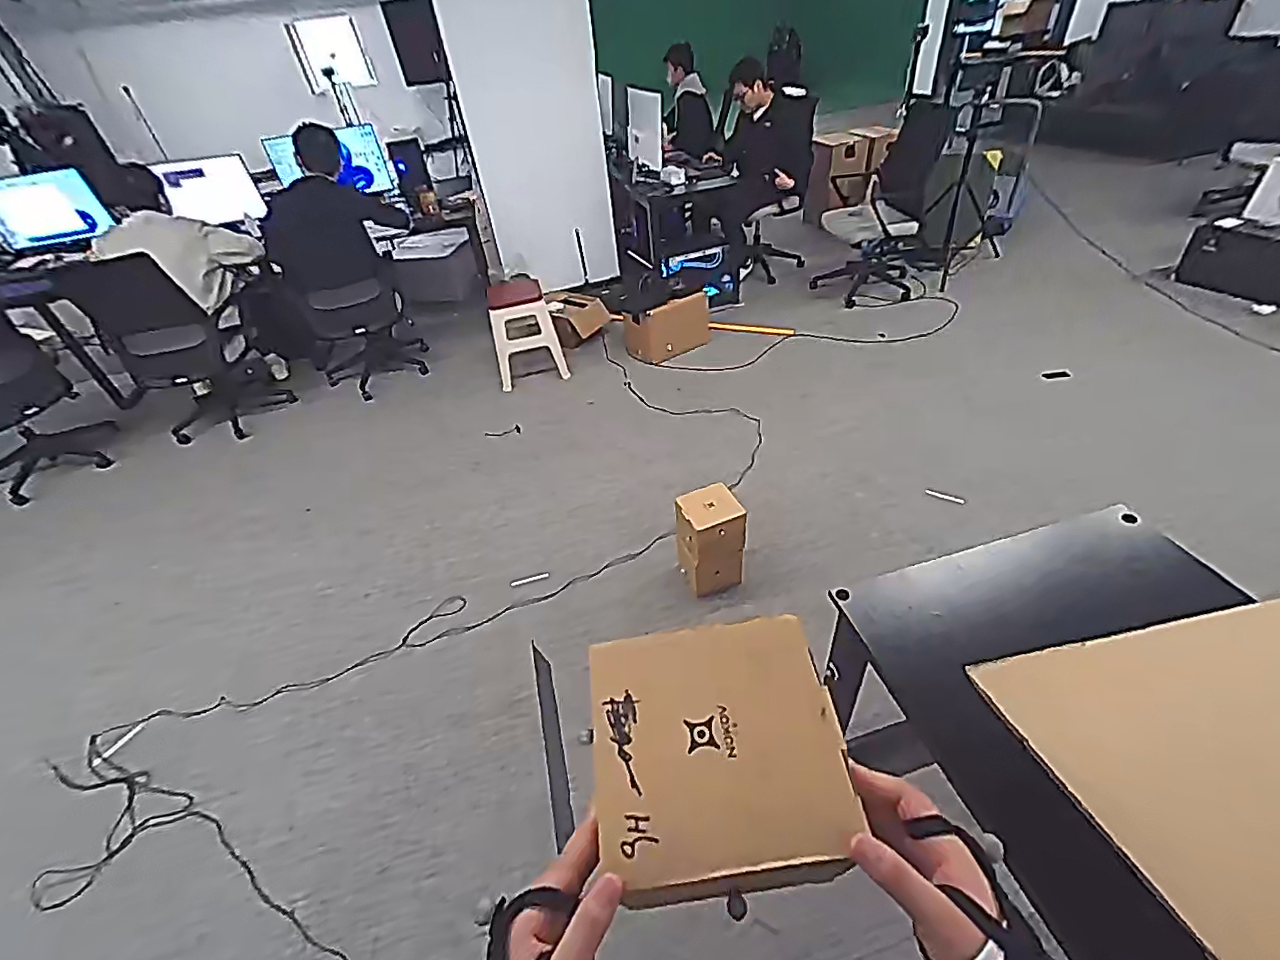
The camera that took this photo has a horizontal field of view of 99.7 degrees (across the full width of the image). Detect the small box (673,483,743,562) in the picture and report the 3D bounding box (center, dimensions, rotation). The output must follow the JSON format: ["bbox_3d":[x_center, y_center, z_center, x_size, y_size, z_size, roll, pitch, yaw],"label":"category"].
[{"bbox_3d":[0.225,0.143,1.774,0.179,0.176,0.168,-18,42,-13],"label":"small box"}]

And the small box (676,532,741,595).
[{"bbox_3d":[0.235,0.268,1.878,0.179,0.176,0.168,-18,41,-10],"label":"small box"}]

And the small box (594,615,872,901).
[{"bbox_3d":[0.061,0.235,0.455,0.179,0.176,0.168,-8,47,-1],"label":"small box"}]
